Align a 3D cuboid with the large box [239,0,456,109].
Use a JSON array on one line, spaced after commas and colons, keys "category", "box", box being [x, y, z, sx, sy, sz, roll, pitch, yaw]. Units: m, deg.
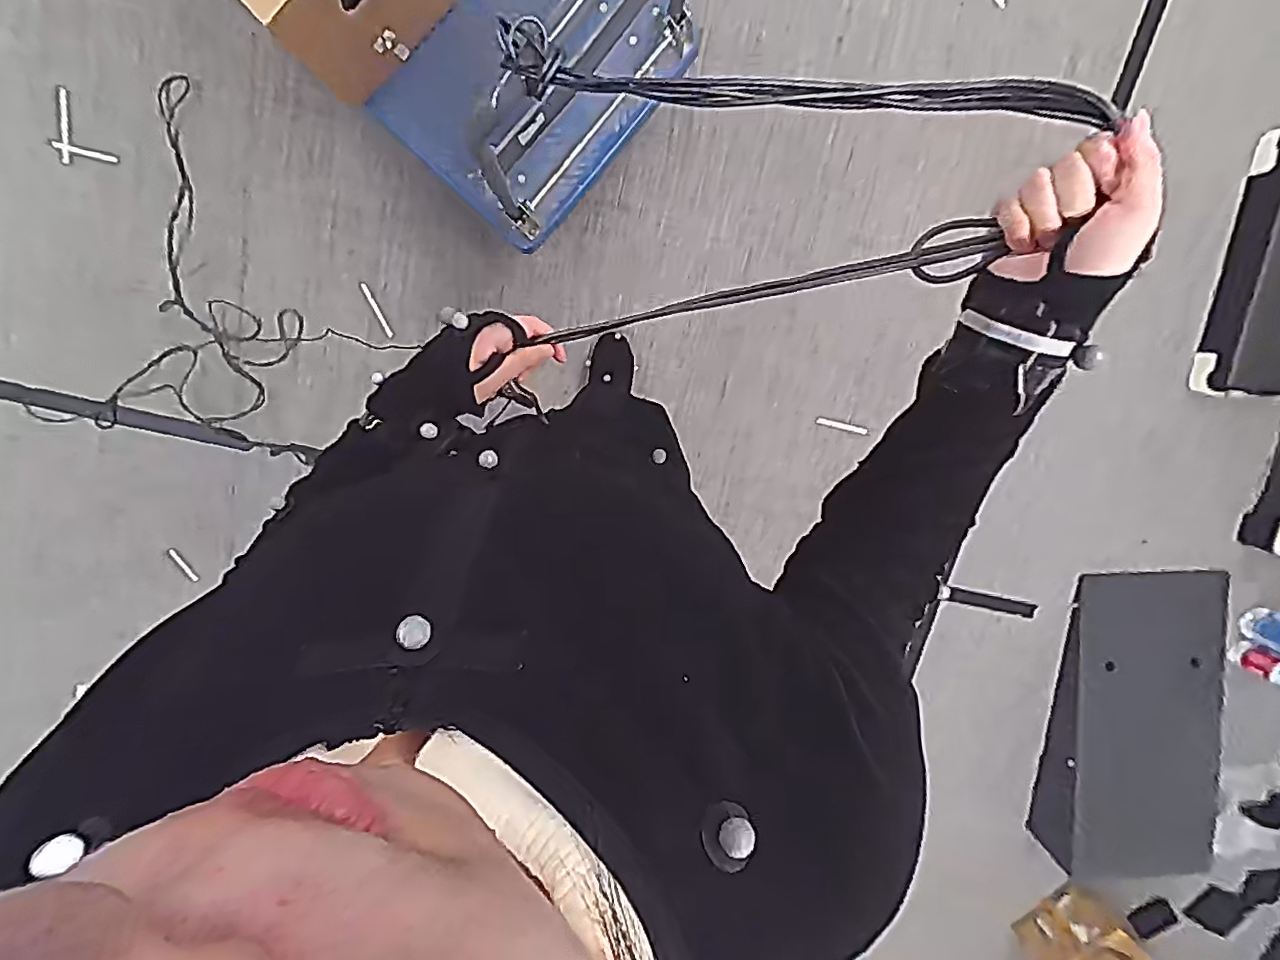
[{"category": "large box", "box": [-0.578, -0.941, 0.884, 0.320, 0.320, 0.408, -42, 103, 6]}]
